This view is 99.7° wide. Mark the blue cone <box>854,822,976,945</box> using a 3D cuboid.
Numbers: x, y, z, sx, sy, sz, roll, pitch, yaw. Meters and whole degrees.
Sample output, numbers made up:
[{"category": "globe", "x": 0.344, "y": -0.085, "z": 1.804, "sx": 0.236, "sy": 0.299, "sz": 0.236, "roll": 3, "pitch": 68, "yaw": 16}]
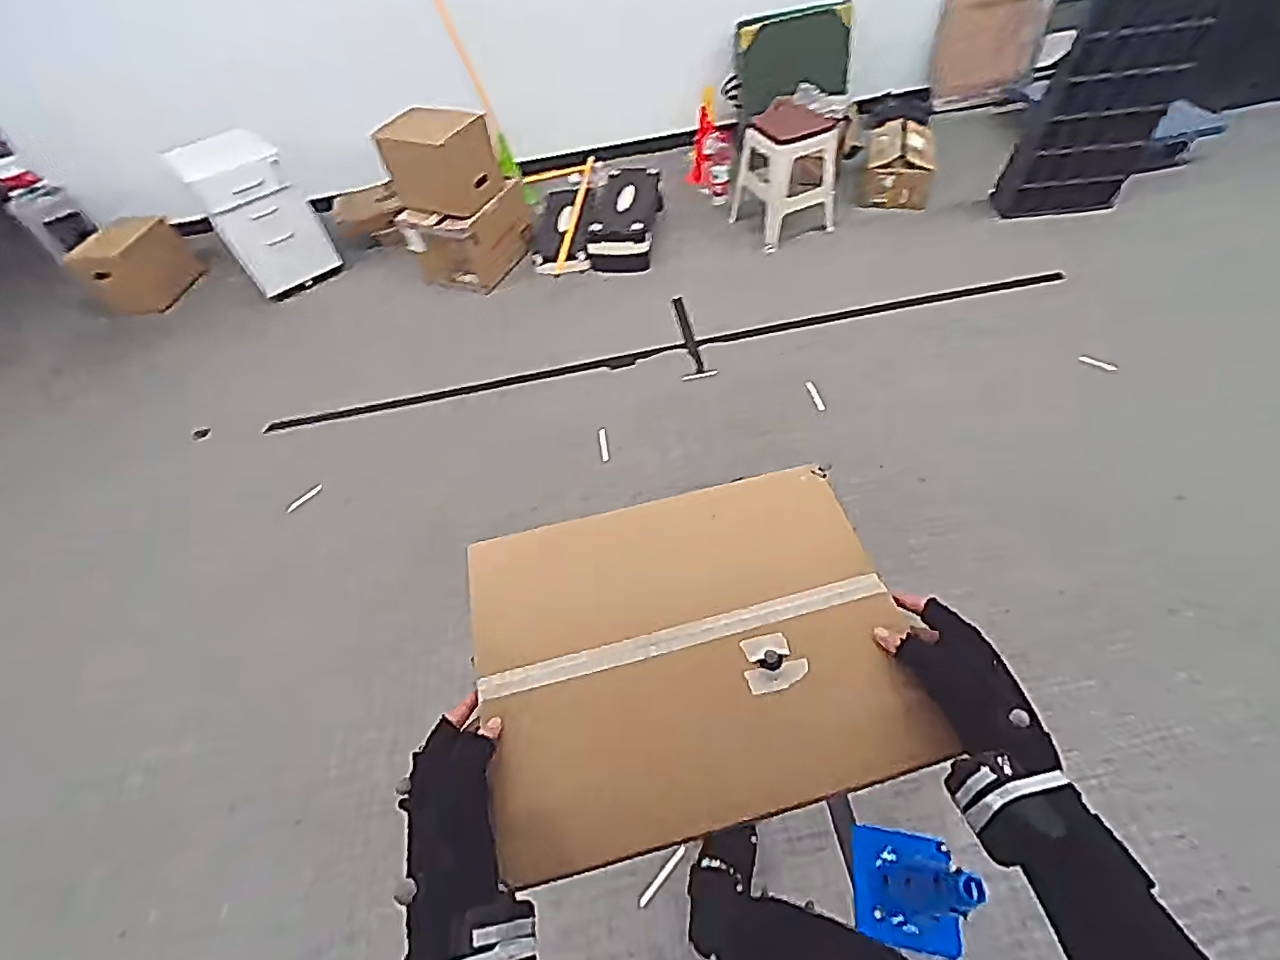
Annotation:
[{"category": "blue cone", "x": 0.535, "y": 0.738, "z": 1.002, "sx": 0.193, "sy": 0.380, "sz": 0.192, "roll": 6, "pitch": 53, "yaw": 12}]

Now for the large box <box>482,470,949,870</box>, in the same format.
[{"category": "large box", "x": 0.056, "y": 0.237, "z": 0.663, "sx": 0.408, "sy": 0.320, "sz": 0.320, "roll": -13, "pitch": 56, "yaw": -5}]
